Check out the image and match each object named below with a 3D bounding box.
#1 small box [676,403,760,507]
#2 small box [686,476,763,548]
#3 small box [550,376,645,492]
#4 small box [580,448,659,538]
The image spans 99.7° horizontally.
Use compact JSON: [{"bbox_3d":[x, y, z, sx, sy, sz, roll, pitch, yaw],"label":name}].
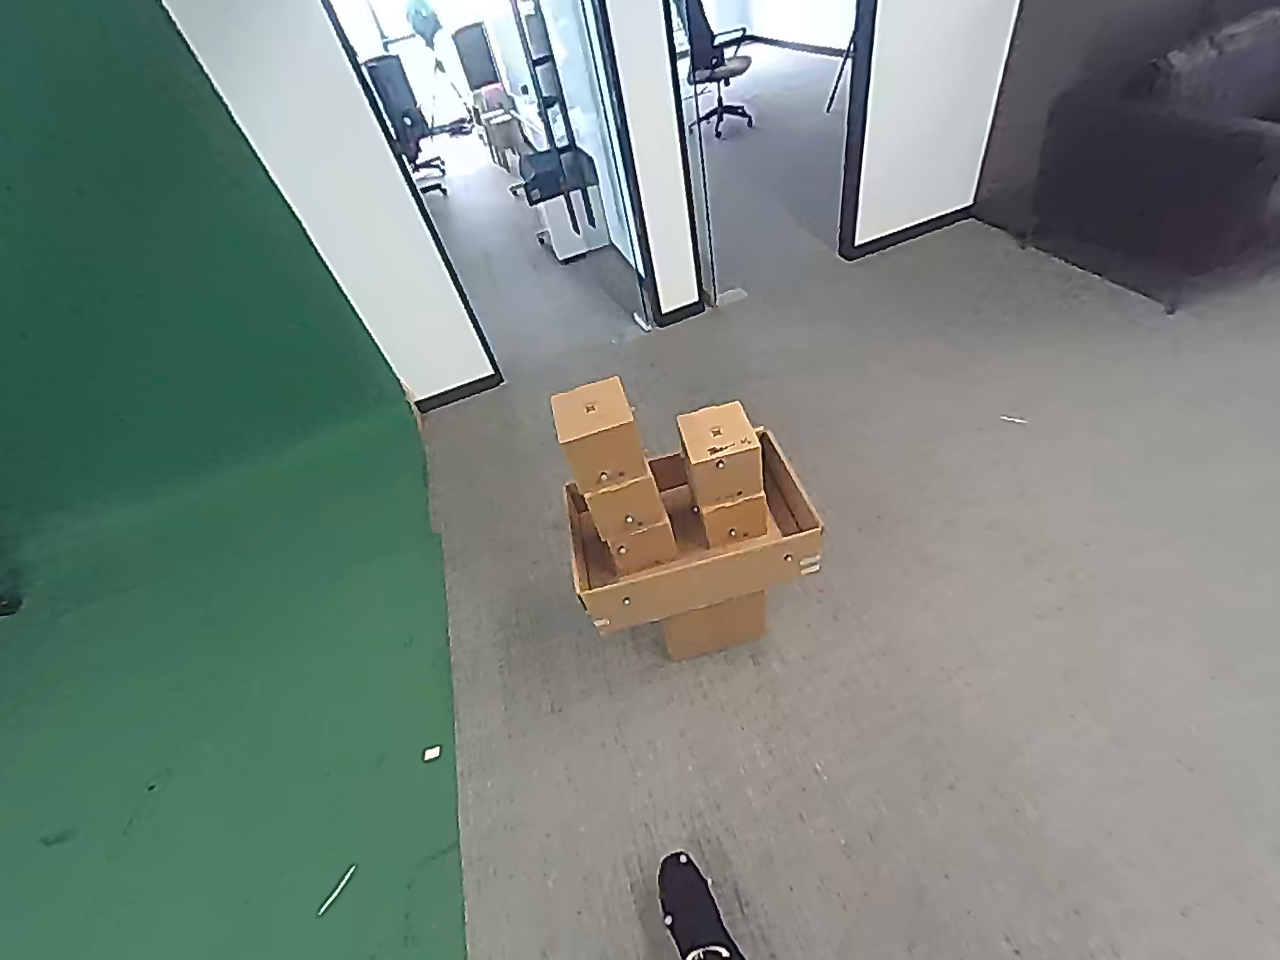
[{"bbox_3d":[0.193,-0.061,1.343,0.168,0.176,0.179,-14,47,1],"label":"small box"},{"bbox_3d":[0.223,0.054,1.457,0.168,0.176,0.179,-15,48,-1],"label":"small box"},{"bbox_3d":[-0.096,-0.102,1.221,0.168,0.176,0.179,-17,46,-1],"label":"small box"},{"bbox_3d":[-0.060,0.012,1.332,0.168,0.176,0.179,-18,46,-2],"label":"small box"}]
